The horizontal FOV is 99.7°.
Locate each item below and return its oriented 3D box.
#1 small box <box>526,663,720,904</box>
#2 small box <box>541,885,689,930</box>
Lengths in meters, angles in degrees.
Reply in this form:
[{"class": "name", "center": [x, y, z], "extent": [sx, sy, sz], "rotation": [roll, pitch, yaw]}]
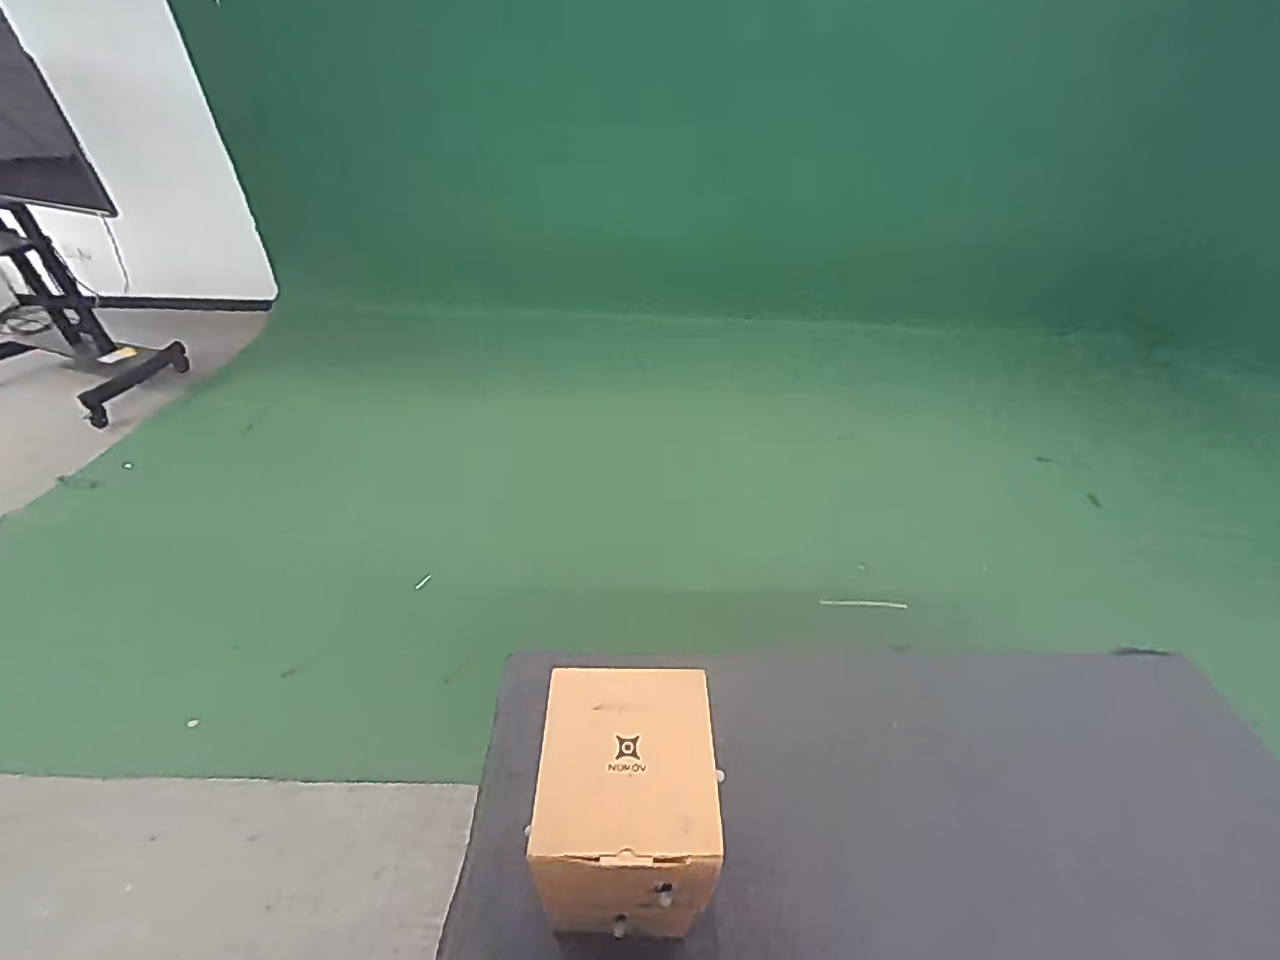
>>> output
[{"class": "small box", "center": [-0.016, 0.314, 0.560], "extent": [0.168, 0.176, 0.179], "rotation": [1, 38, -2]}, {"class": "small box", "center": [-0.021, 0.432, 0.673], "extent": [0.168, 0.176, 0.179], "rotation": [3, 39, 0]}]
